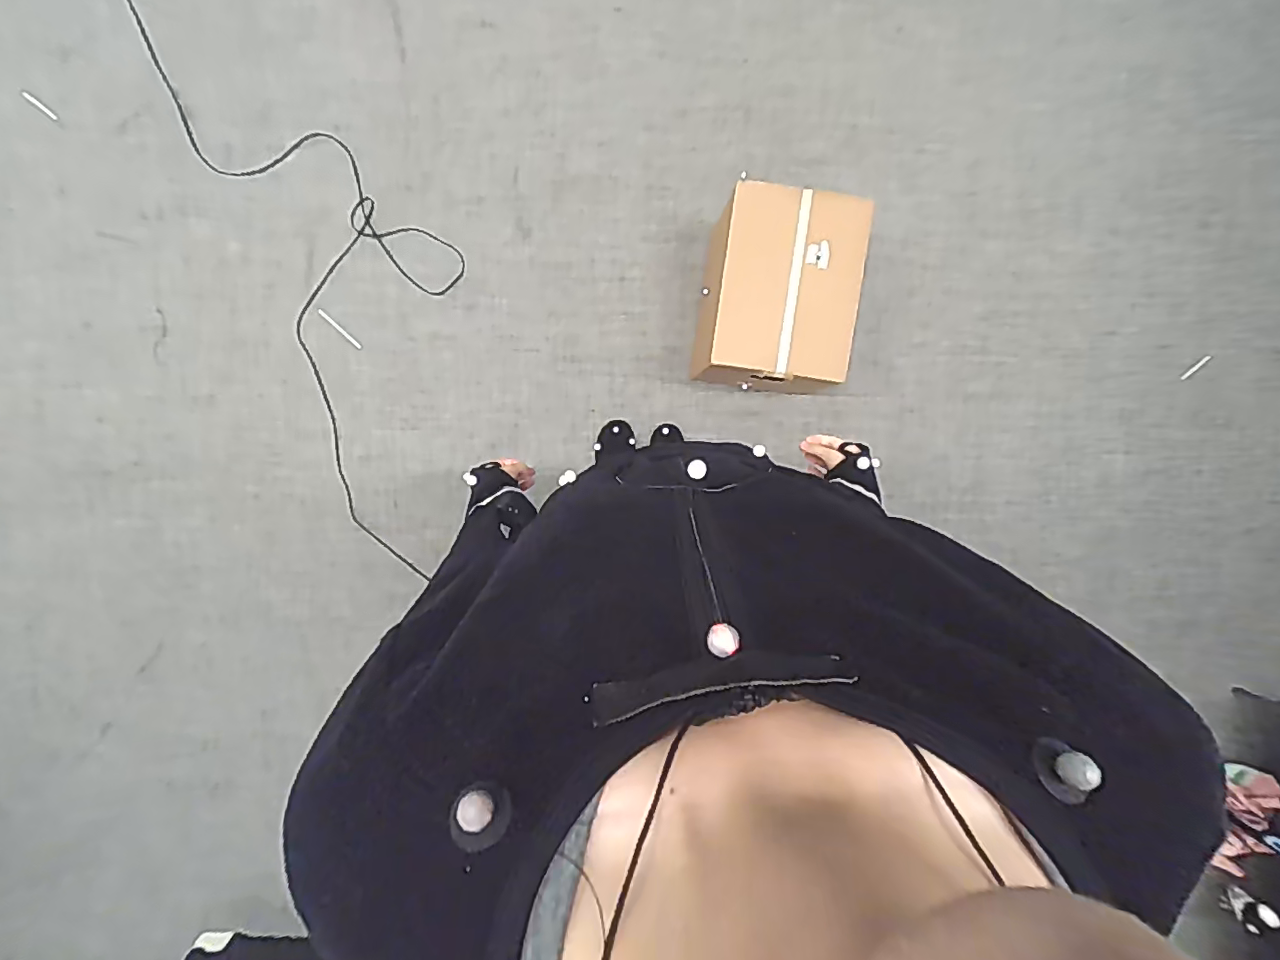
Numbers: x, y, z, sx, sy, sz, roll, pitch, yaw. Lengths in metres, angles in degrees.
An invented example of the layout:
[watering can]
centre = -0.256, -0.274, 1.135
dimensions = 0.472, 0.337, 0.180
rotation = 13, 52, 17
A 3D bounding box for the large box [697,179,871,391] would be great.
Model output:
[large box]
centre = 0.332, -0.450, 1.341
dimensions = 0.320, 0.320, 0.408
rotation = 7, 93, -3
